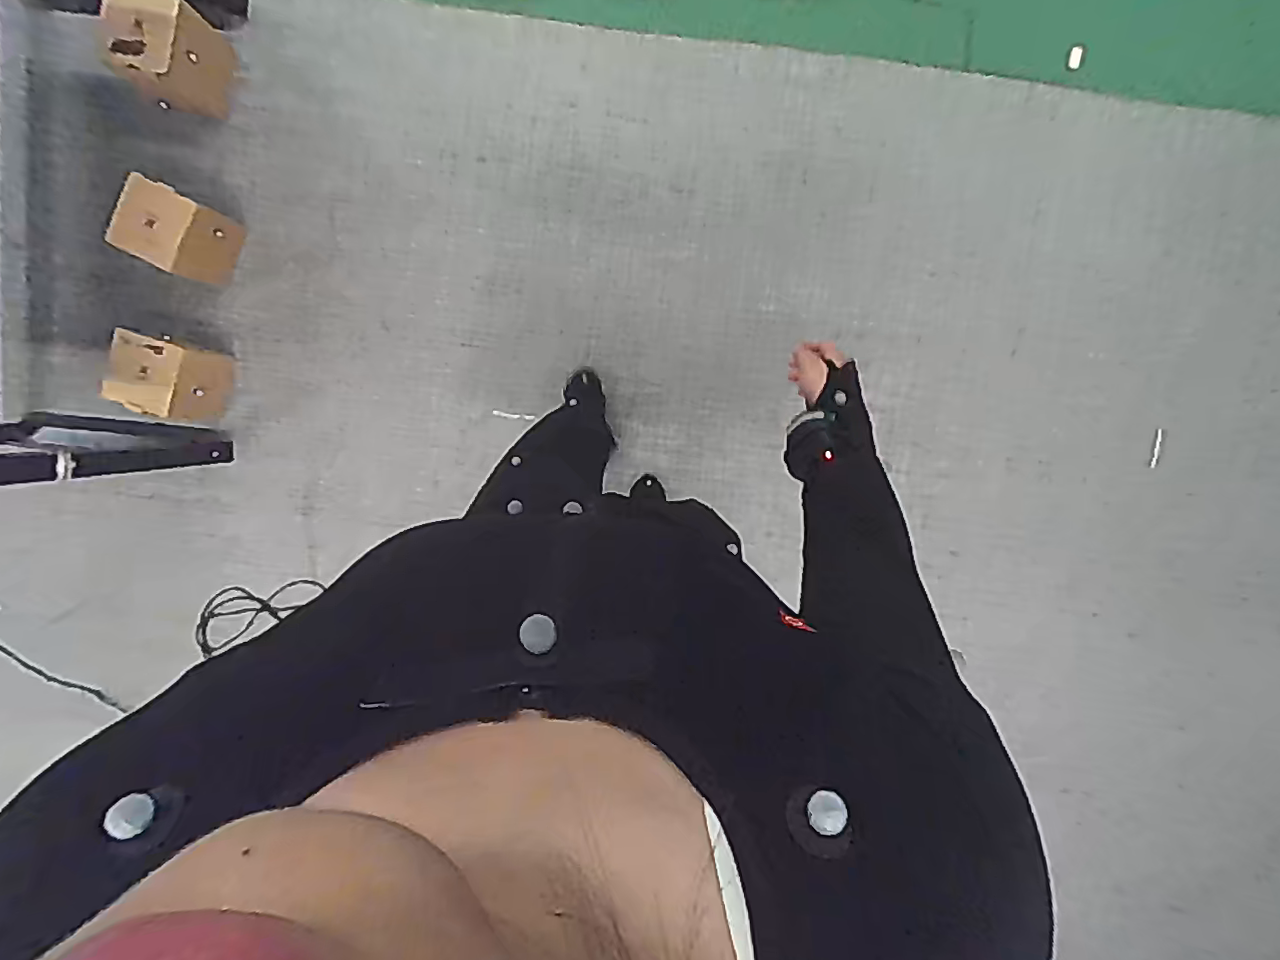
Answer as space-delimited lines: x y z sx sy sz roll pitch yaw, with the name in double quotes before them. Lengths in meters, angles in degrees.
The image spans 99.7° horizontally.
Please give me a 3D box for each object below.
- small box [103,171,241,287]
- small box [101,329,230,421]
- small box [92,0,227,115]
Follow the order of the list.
"small box" -1.123 -0.599 1.314 0.168 0.176 0.179 26 97 -3
"small box" -1.175 -0.257 1.352 0.168 0.176 0.179 18 97 -3
"small box" -1.115 -1.003 1.268 0.168 0.176 0.179 12 95 -2
